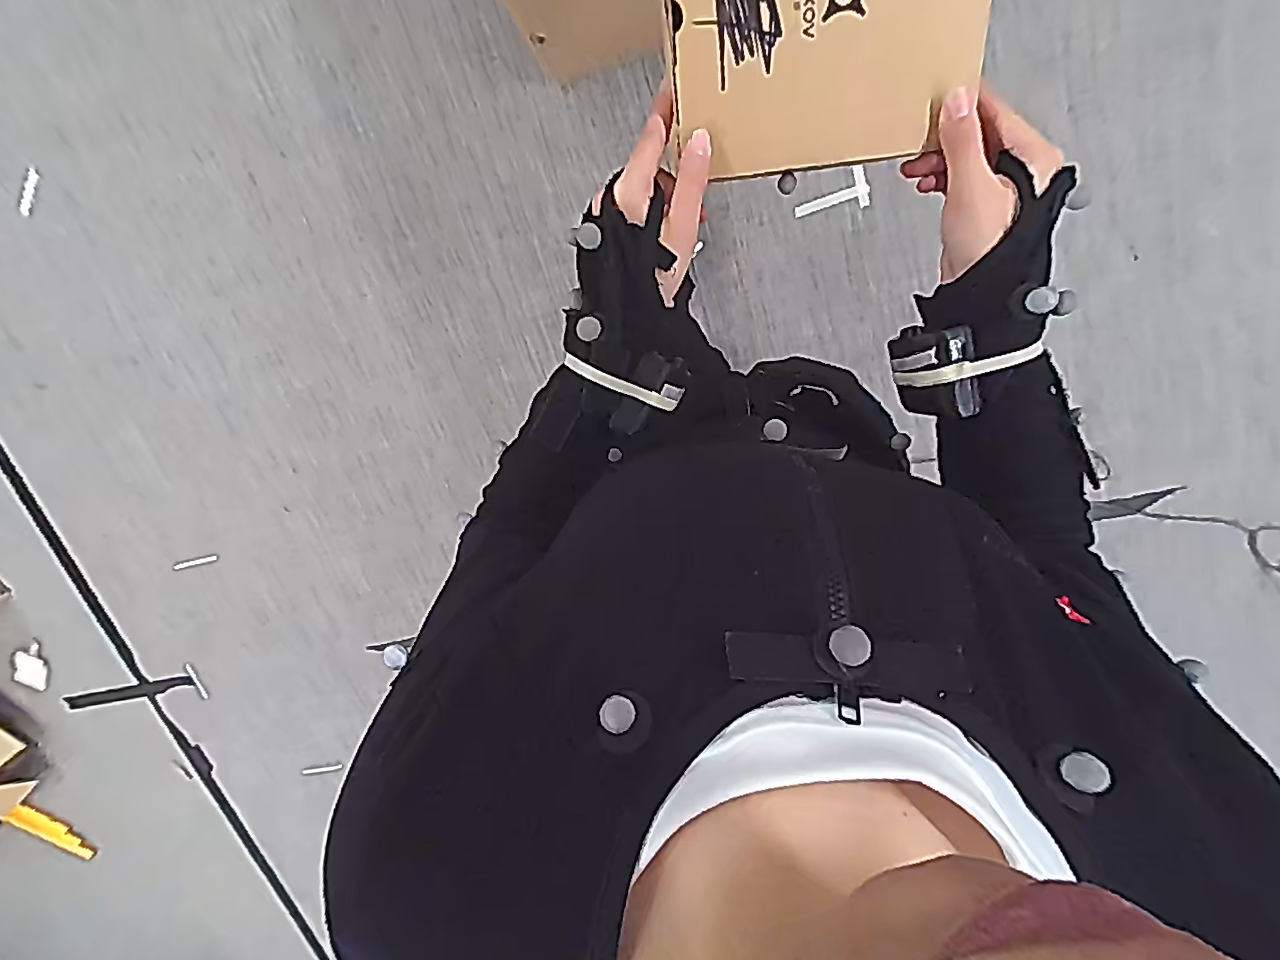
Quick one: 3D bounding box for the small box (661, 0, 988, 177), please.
[{"bbox_3d":[0.103,-0.306,0.360,0.179,0.176,0.168,-5,117,4],"label":"small box"}]
